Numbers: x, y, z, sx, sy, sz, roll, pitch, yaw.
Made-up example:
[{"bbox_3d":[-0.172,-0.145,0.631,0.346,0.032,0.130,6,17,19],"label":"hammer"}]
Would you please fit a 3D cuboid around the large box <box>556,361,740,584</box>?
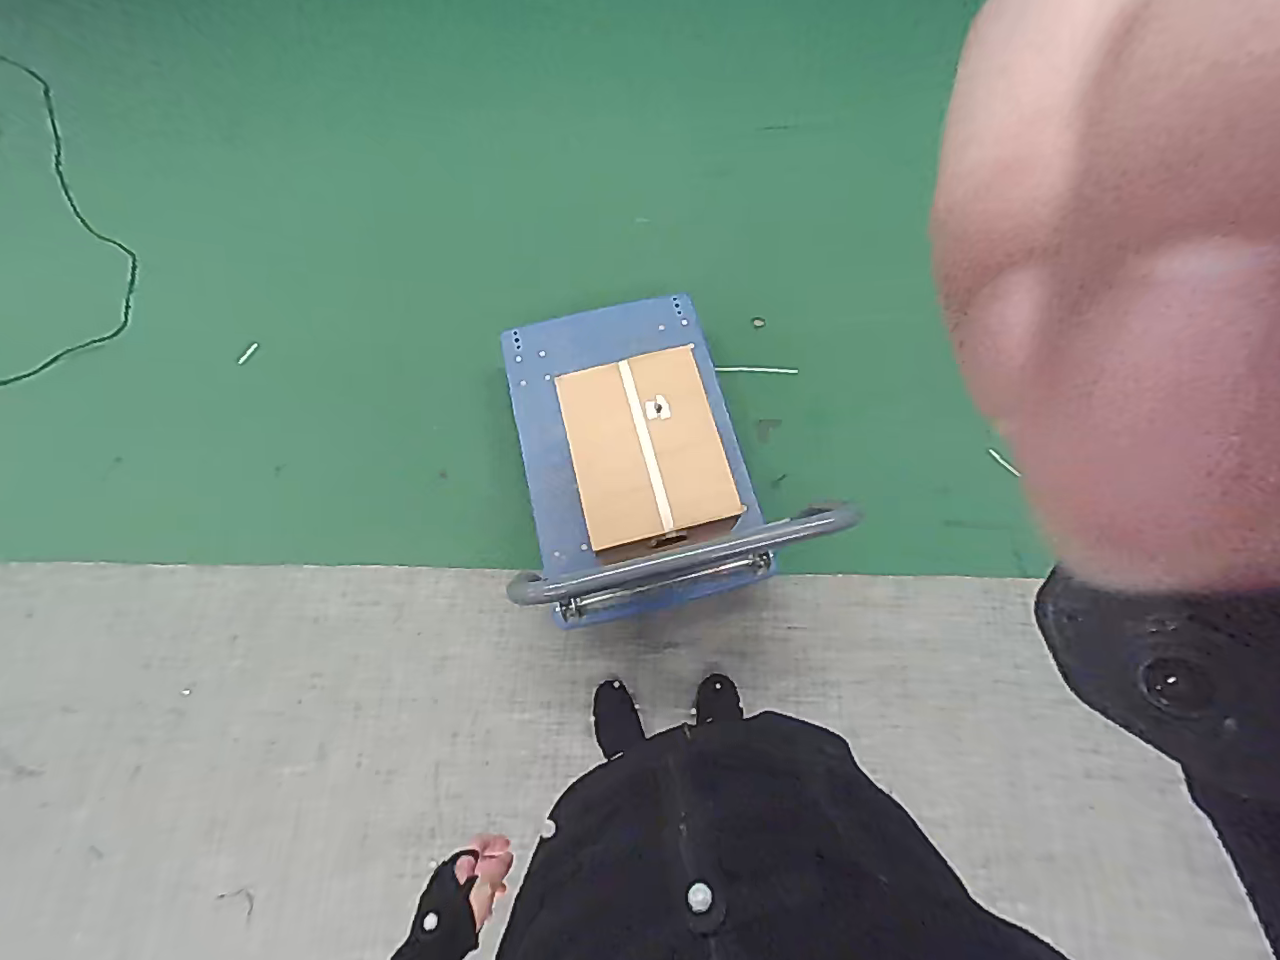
[{"bbox_3d":[0.015,-0.003,1.290,0.320,0.320,0.408,-14,70,-3],"label":"large box"}]
